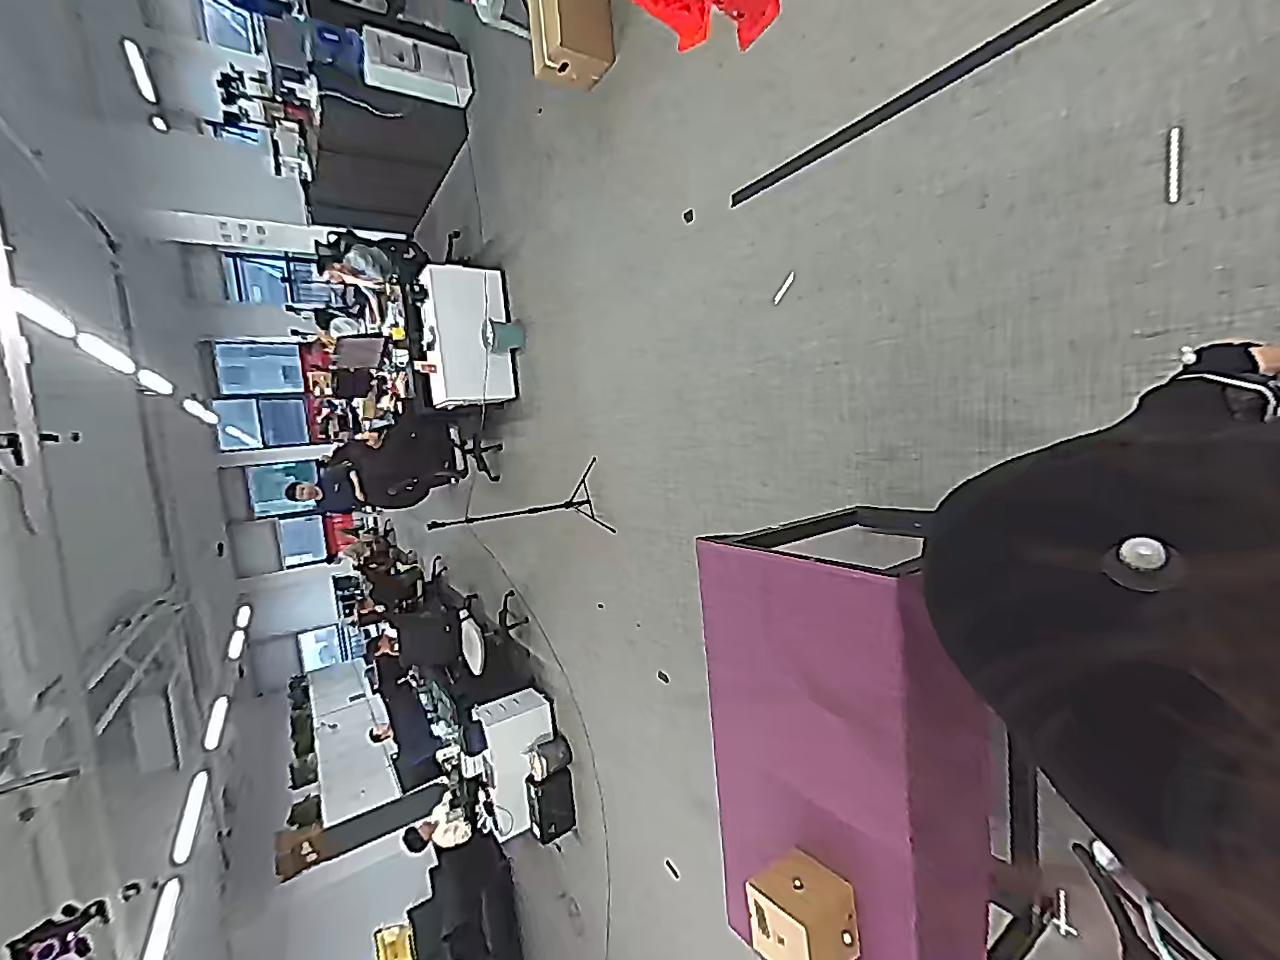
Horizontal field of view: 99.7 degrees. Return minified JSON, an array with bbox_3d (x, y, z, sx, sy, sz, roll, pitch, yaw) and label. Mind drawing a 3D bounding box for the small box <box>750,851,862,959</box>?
[{"bbox_3d":[0.384,1.009,1.255,0.179,0.176,0.168,-4,94,57],"label":"small box"}]
